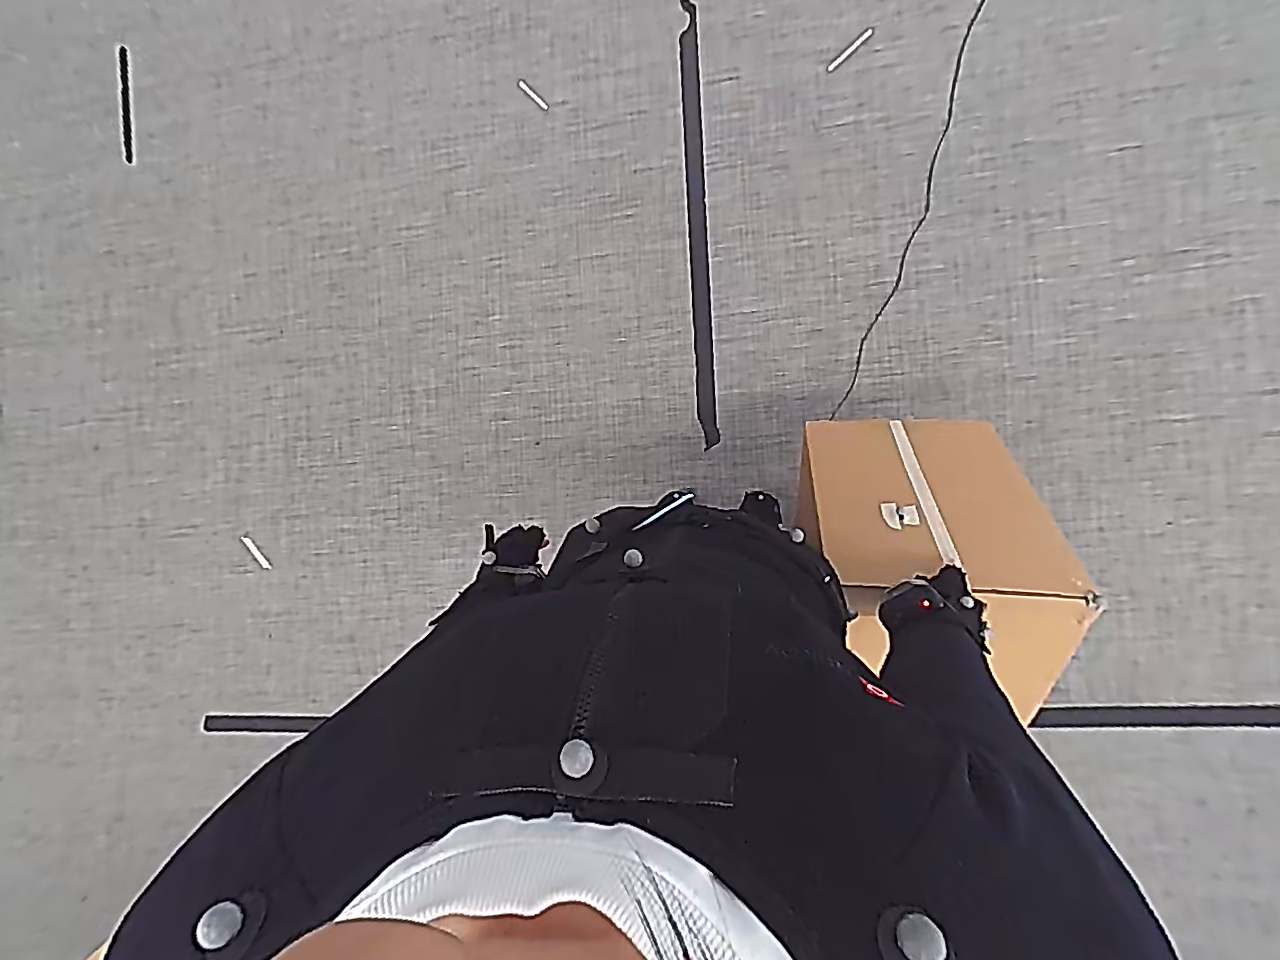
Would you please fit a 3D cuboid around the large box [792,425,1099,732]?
[{"bbox_3d":[0.440,0.144,0.913,0.320,0.408,0.320,1,128,11],"label":"large box"}]
